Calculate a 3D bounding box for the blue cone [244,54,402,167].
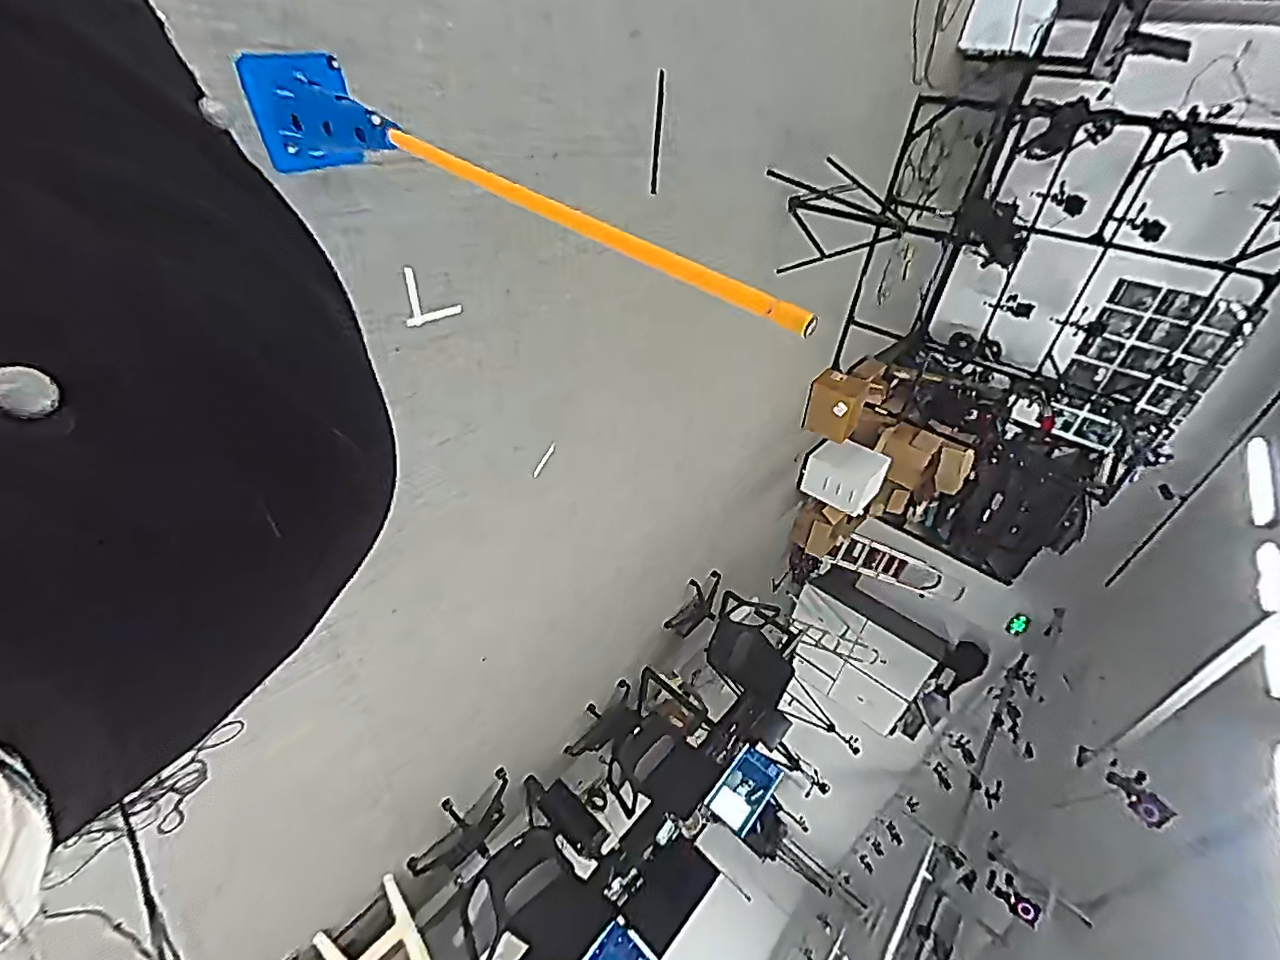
[{"bbox_3d":[-0.572,-0.700,1.049,0.193,0.380,0.192,-35,141,-36],"label":"blue cone"}]
